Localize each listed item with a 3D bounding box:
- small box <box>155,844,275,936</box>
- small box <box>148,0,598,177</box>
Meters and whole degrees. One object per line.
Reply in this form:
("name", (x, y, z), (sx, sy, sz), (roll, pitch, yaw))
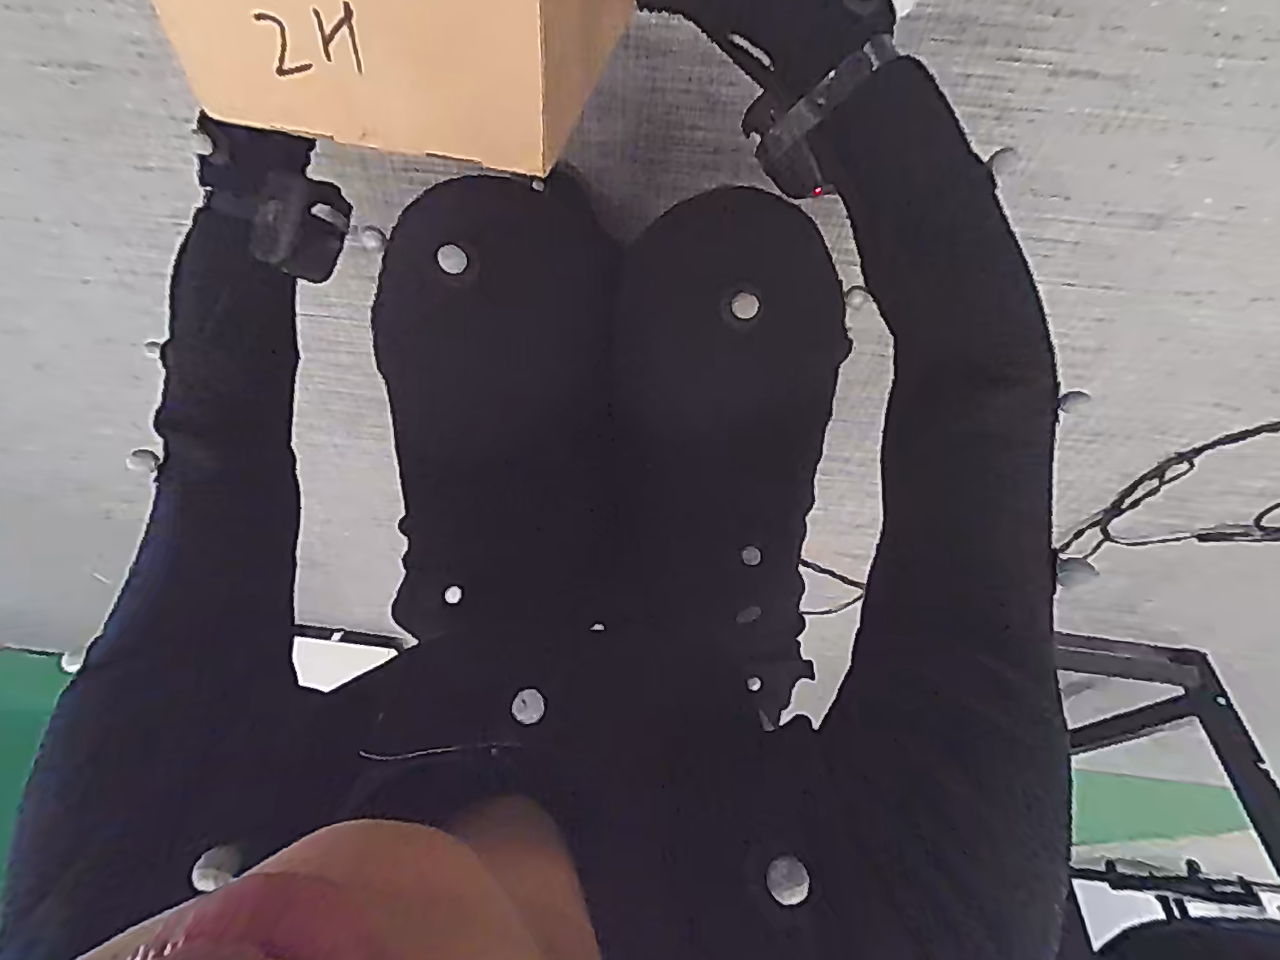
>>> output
("small box", (-1.091, 1.063, 1.409), (0.168, 0.176, 0.179), (15, 142, -10))
("small box", (-0.108, -0.275, 0.244), (0.168, 0.176, 0.179), (10, 141, -1))
